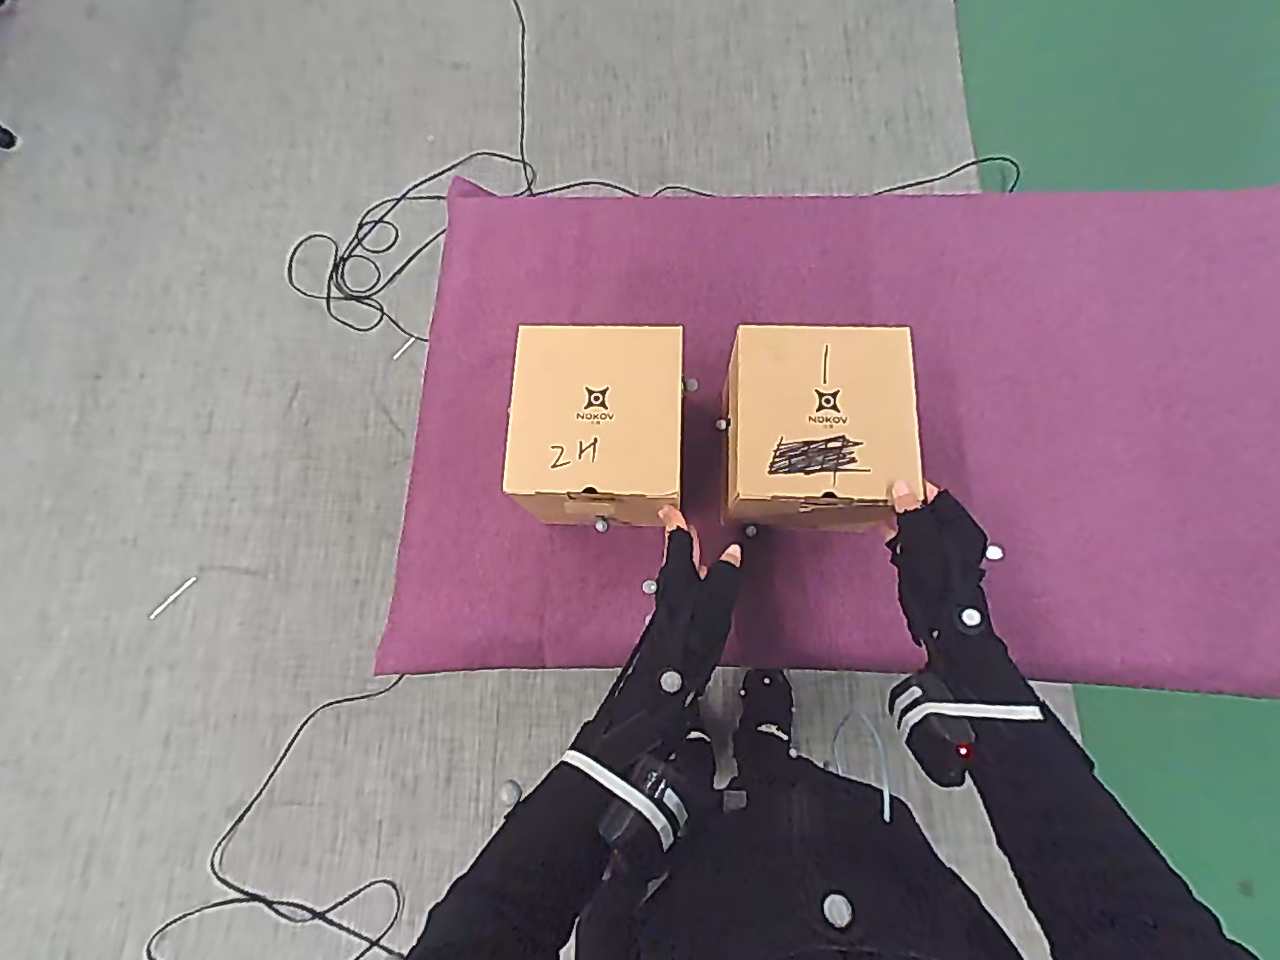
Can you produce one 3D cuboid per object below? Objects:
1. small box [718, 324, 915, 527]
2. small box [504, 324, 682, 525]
[{"bbox_3d":[0.175,-0.048,0.585,0.168,0.176,0.179,2,75,4],"label":"small box"},{"bbox_3d":[-0.039,-0.052,0.599,0.168,0.176,0.179,1,77,4],"label":"small box"}]
